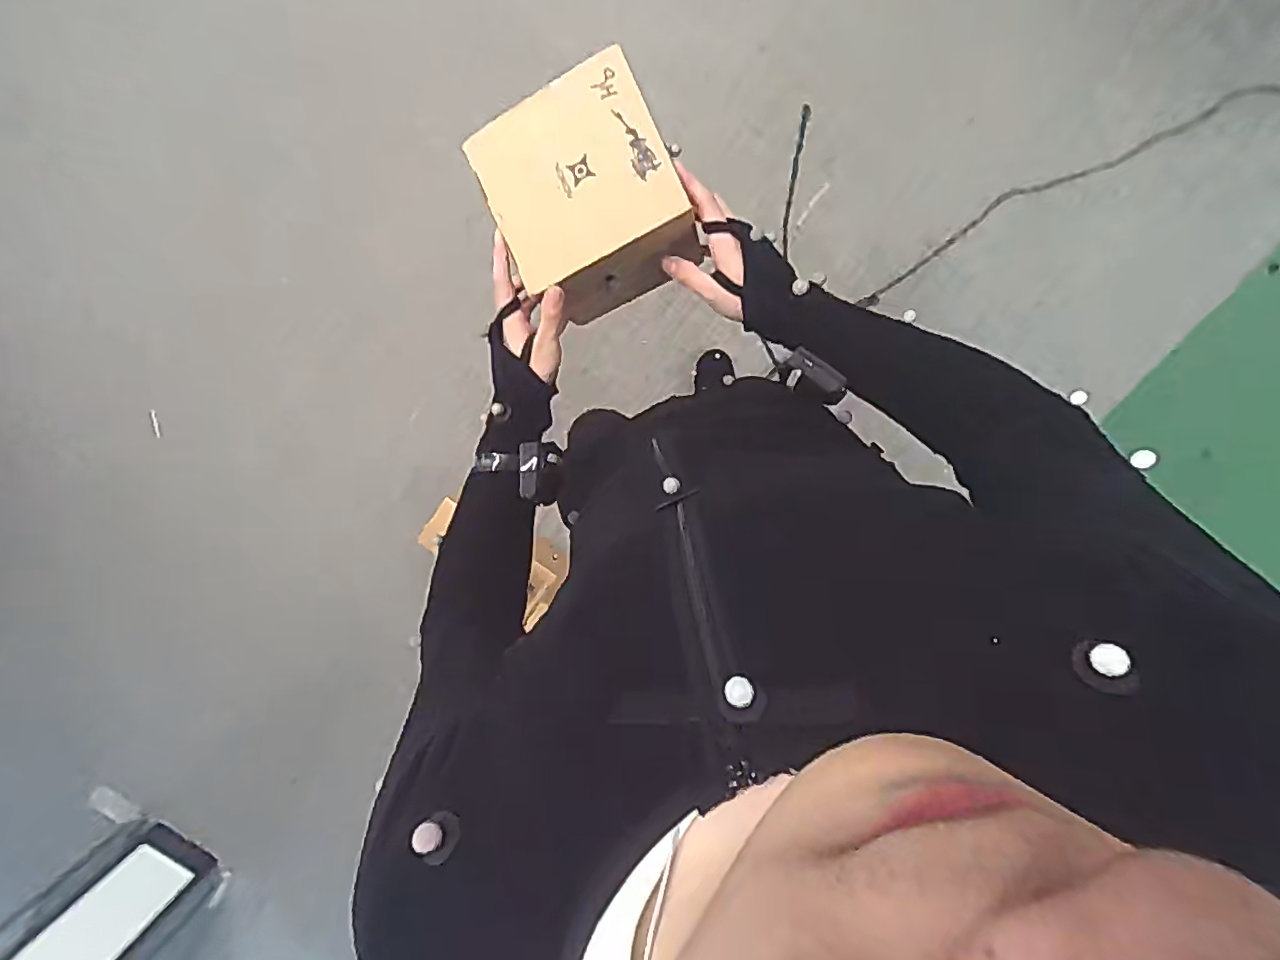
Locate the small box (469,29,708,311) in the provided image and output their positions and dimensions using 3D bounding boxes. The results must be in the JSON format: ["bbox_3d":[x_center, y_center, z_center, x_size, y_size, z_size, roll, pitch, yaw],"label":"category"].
[{"bbox_3d":[-0.041,-0.302,0.577,0.179,0.176,0.168,-23,91,13],"label":"small box"}]

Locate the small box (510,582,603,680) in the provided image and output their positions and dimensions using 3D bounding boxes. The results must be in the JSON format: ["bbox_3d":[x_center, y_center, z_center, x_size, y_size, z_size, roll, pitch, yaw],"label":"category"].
[{"bbox_3d":[-0.225,0.407,1.500,0.179,0.176,0.168,38,104,-4],"label":"small box"}]

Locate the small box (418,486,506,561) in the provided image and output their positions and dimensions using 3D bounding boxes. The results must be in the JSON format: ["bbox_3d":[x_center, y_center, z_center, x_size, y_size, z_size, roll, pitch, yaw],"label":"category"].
[{"bbox_3d":[-0.529,0.142,1.641,0.168,0.176,0.179,36,104,-3],"label":"small box"}]
